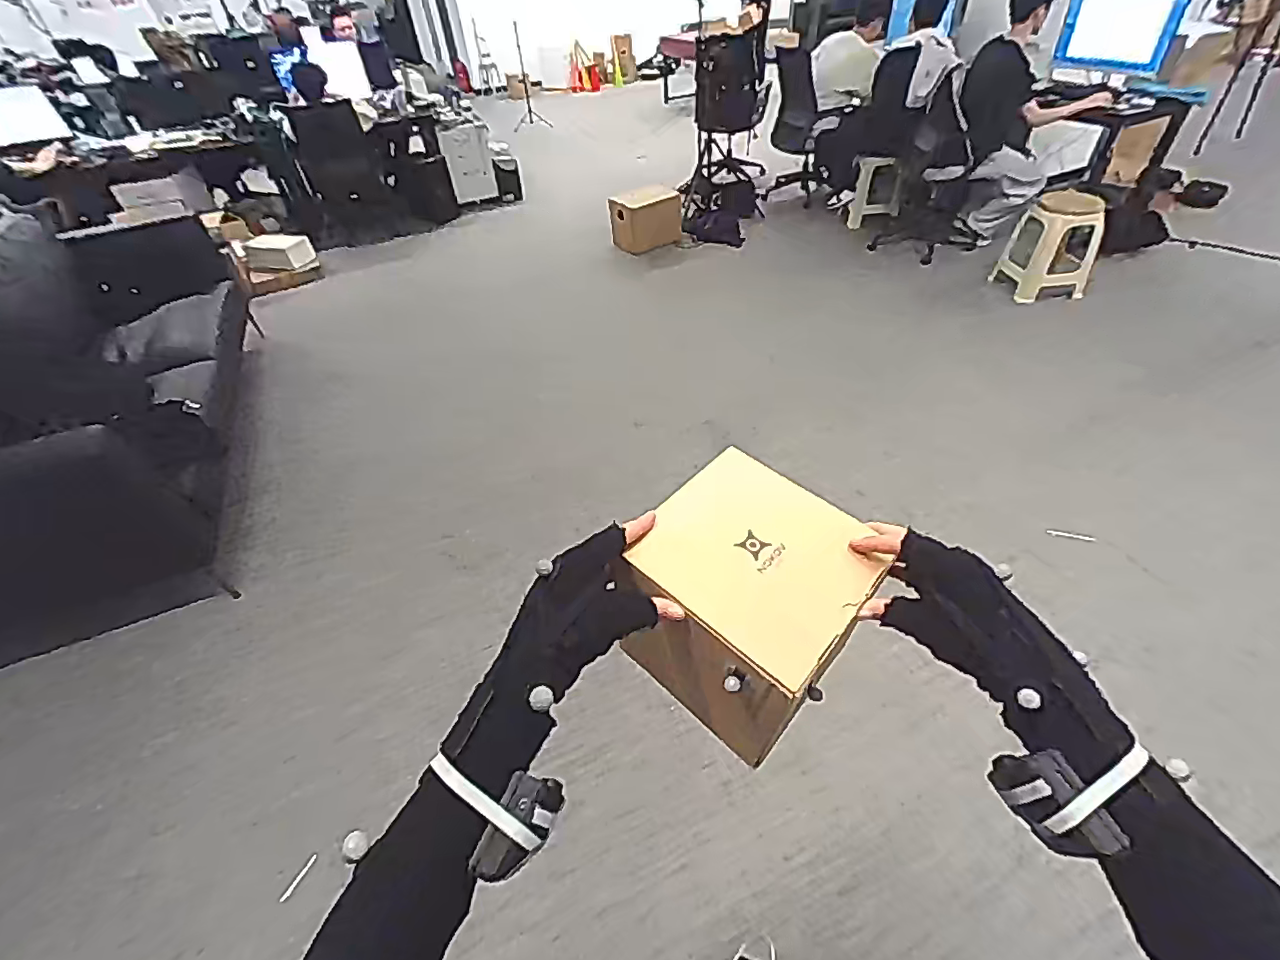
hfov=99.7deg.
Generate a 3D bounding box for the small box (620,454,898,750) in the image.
[{"bbox_3d":[0.097,0.113,0.507,0.179,0.176,0.168,35,56,27],"label":"small box"}]
